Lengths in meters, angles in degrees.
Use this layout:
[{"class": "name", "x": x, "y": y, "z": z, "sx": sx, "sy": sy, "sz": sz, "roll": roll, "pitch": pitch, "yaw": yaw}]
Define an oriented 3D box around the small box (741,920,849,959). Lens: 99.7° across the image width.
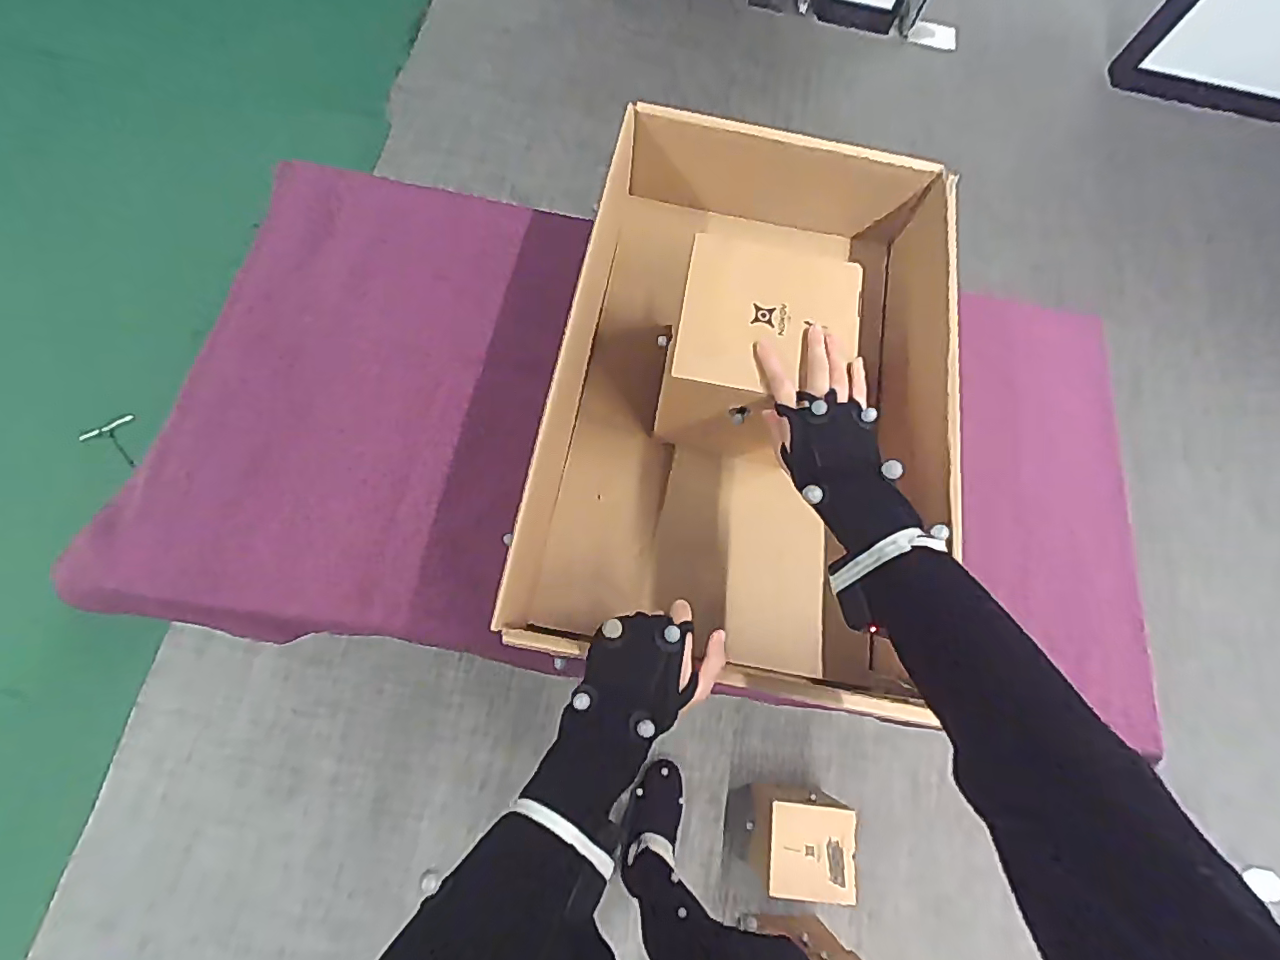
[{"class": "small box", "x": 0.299, "y": 1.001, "z": 1.063, "sx": 0.179, "sy": 0.176, "sz": 0.168, "roll": 6, "pitch": 70, "yaw": -4}]
